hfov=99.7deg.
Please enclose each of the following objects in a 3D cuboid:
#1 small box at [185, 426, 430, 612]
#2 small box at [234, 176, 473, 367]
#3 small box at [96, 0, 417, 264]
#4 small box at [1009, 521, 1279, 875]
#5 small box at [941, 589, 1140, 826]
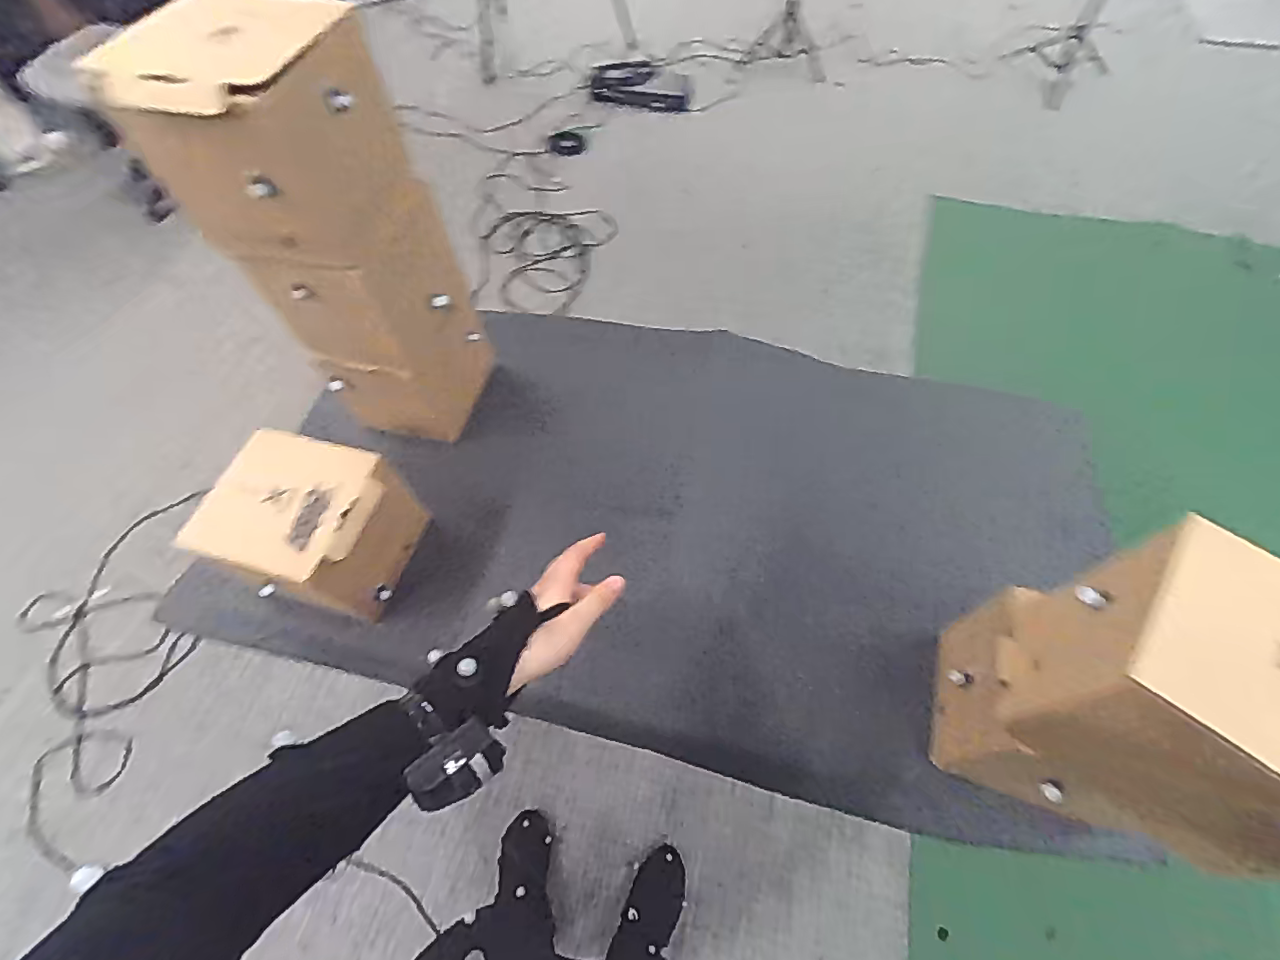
[{"bbox_3d":[-0.404,0.058,0.698,0.179,0.176,0.168,13,62,9],"label":"small box"},{"bbox_3d":[-0.343,-0.267,0.687,0.179,0.176,0.168,13,63,8],"label":"small box"},{"bbox_3d":[-0.354,-0.346,0.546,0.168,0.176,0.179,10,61,5],"label":"small box"},{"bbox_3d":[0.437,0.171,0.417,0.179,0.176,0.168,37,66,21],"label":"small box"},{"bbox_3d":[0.441,0.243,0.565,0.179,0.176,0.168,17,60,12],"label":"small box"}]
